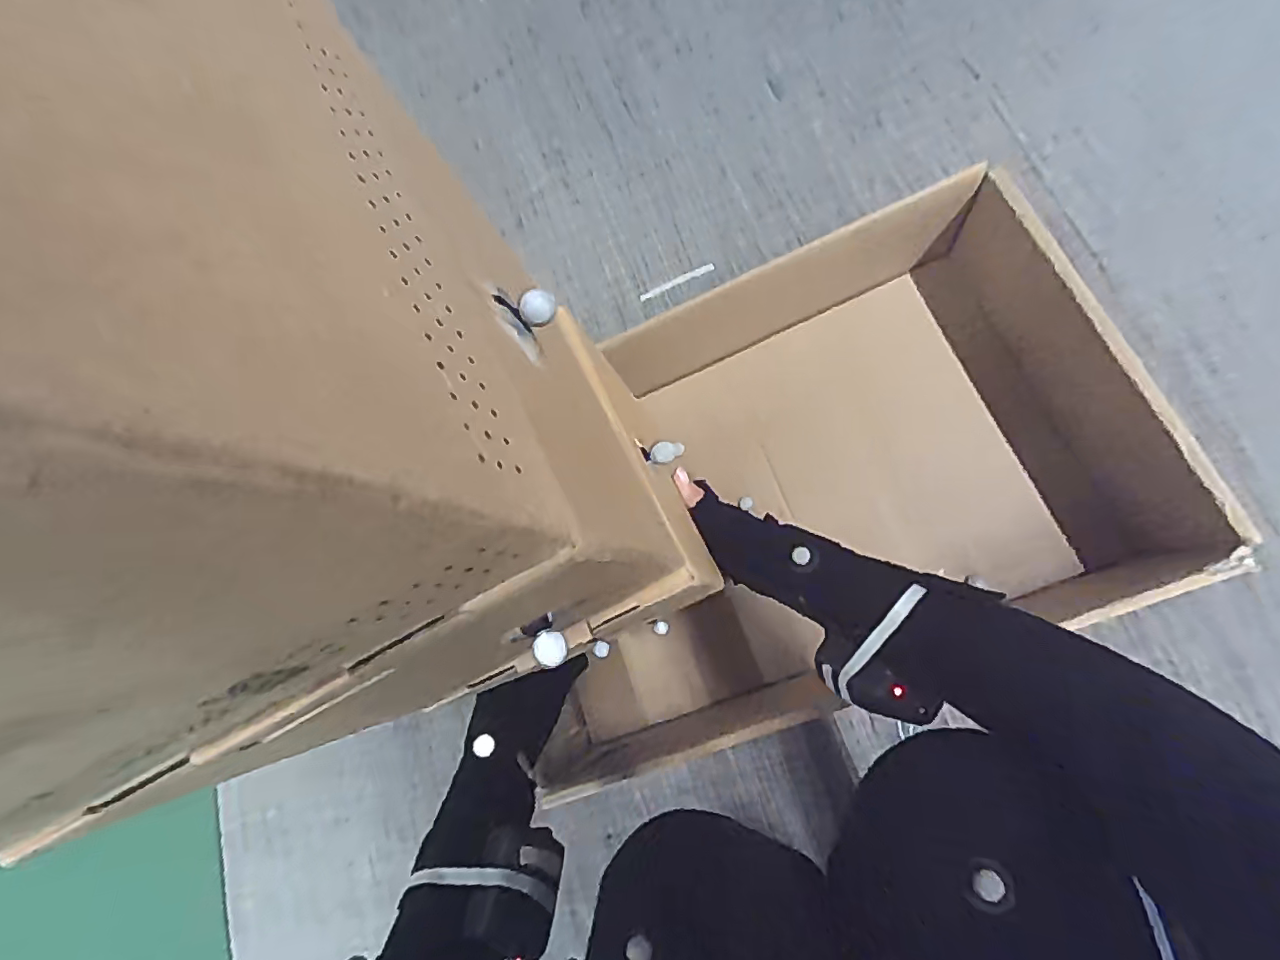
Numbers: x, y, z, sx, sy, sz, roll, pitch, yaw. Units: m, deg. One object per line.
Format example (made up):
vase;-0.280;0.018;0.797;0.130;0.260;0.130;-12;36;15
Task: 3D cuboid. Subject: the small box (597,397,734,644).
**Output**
small box;-0.021;0.052;0.521;0.168;0.176;0.179;-26;75;8

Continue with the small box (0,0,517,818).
small box;-0.139;-0.036;0.054;0.168;0.176;0.179;-29;76;6

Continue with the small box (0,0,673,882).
small box;-0.102;-0.006;0.211;0.168;0.176;0.179;-29;75;6

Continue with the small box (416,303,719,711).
small box;-0.059;0.024;0.366;0.168;0.176;0.179;-27;76;7
